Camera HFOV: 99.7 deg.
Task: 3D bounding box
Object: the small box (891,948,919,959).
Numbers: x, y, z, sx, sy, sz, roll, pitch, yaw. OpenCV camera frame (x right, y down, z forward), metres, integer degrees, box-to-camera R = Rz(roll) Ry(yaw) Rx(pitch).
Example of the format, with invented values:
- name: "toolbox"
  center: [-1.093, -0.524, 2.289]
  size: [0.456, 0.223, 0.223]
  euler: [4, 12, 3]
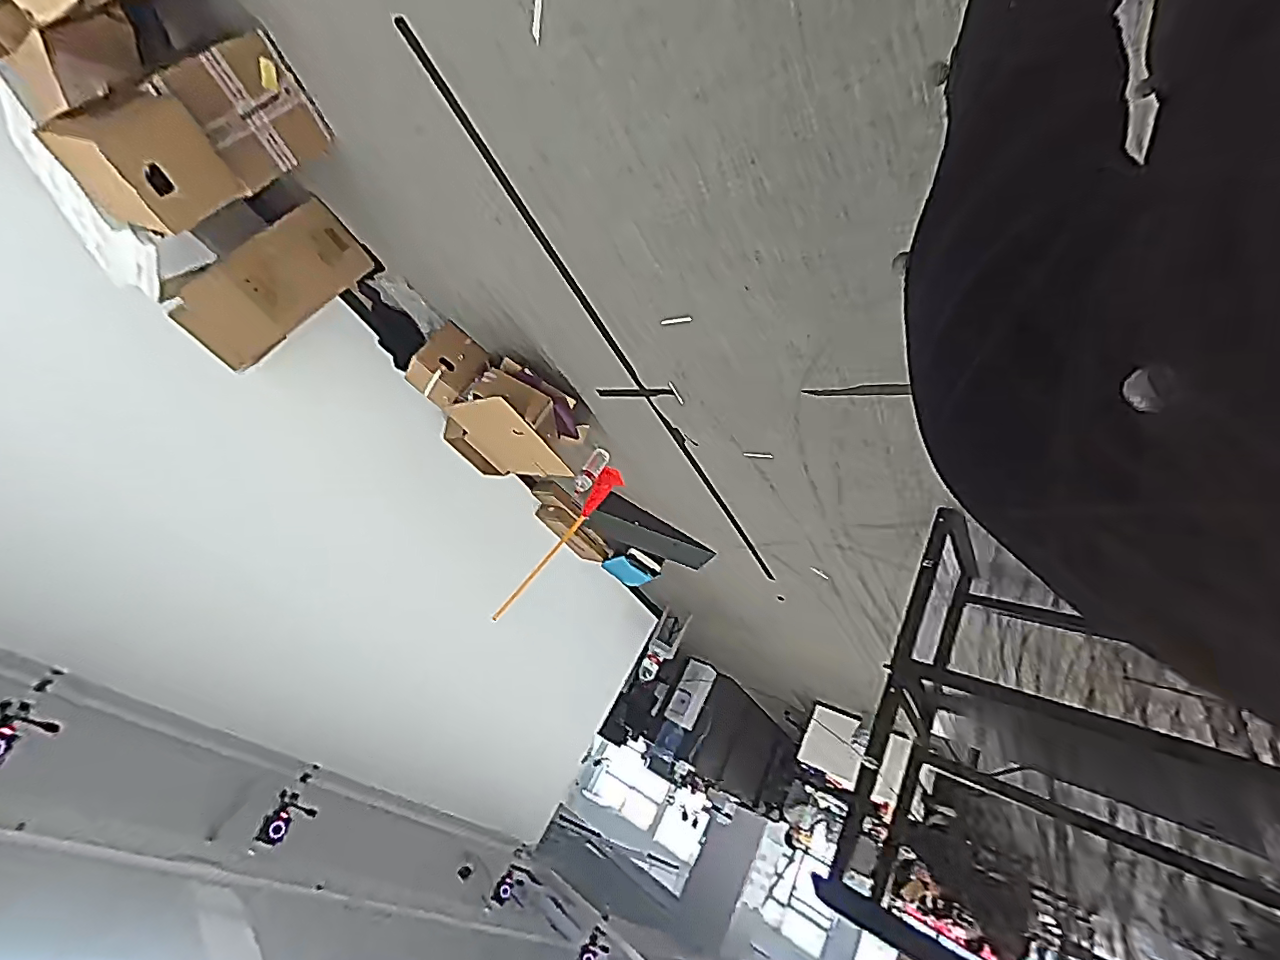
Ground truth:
- name: "small box"
  center: [0.761, 1.406, 1.453]
  size: [0.168, 0.176, 0.179]
  euler: [7, 146, 41]
